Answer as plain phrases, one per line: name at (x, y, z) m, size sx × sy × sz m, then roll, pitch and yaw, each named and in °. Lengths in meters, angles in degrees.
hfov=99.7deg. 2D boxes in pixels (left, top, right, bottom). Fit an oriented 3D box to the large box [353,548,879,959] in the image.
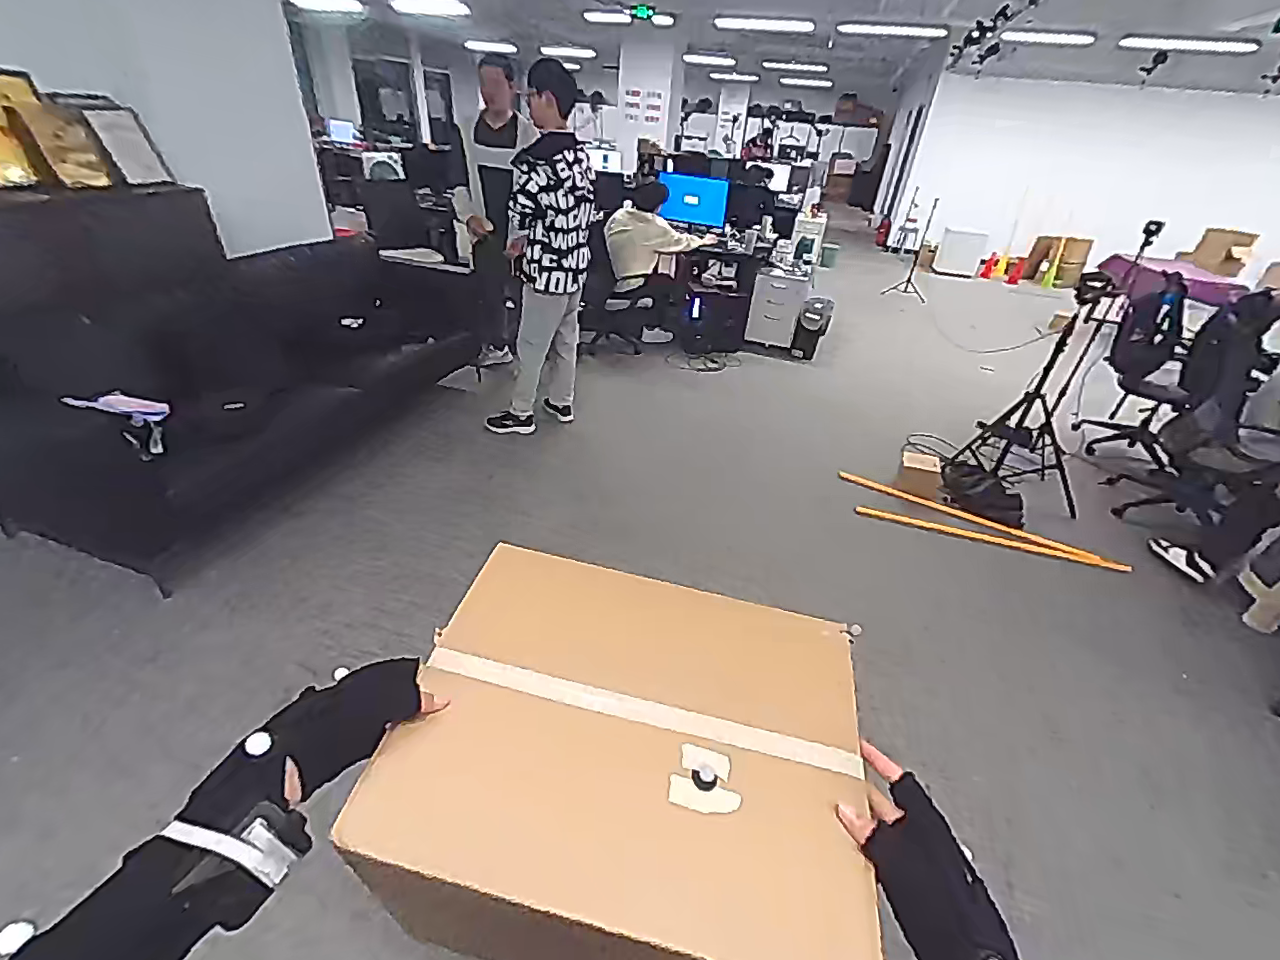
large box at (-0.016, 0.325, 0.597) m, size 0.408 × 0.320 × 0.320 m, roll 13°, pitch 40°, yaw 5°
